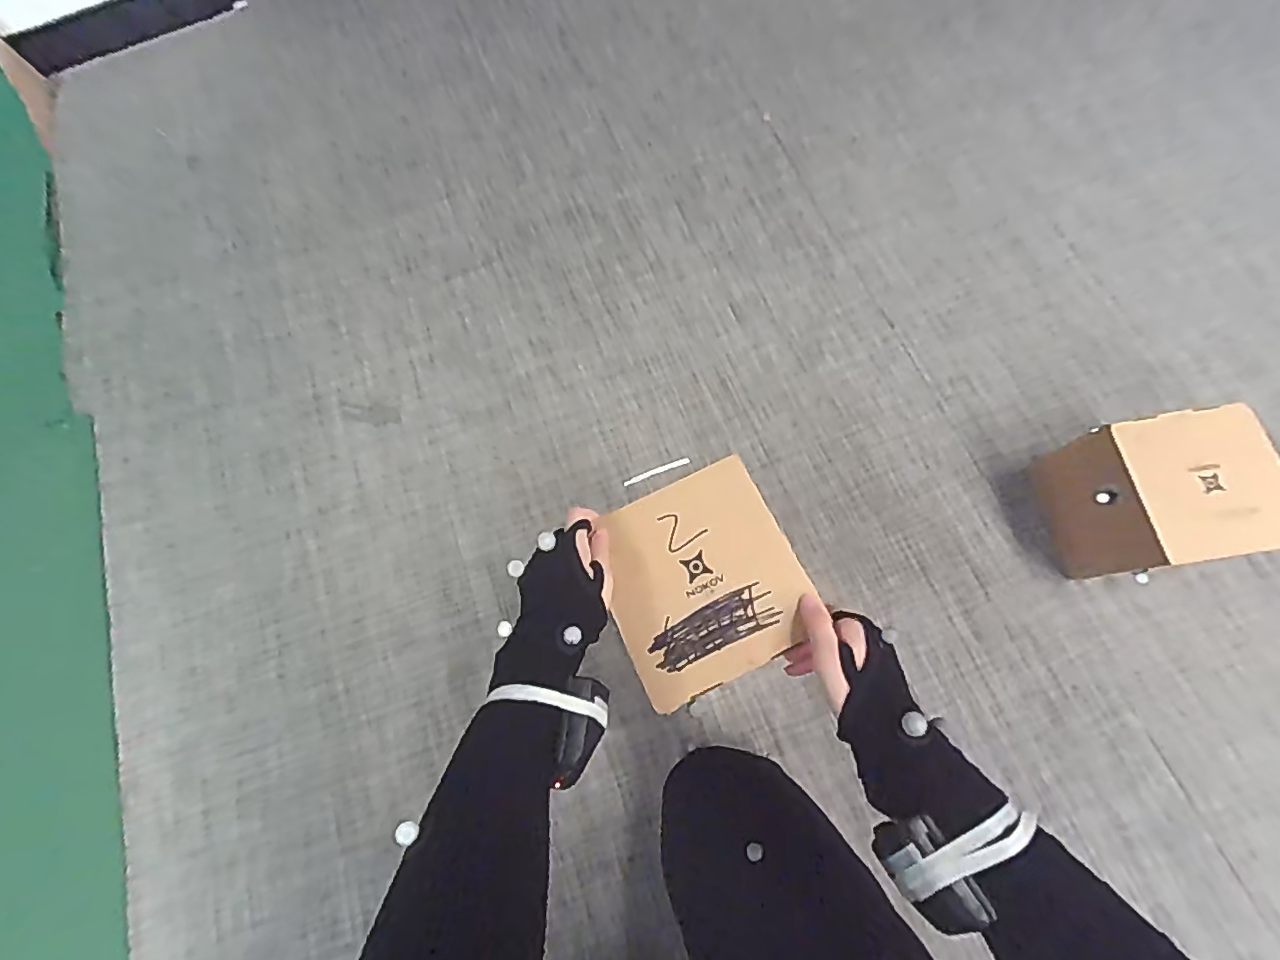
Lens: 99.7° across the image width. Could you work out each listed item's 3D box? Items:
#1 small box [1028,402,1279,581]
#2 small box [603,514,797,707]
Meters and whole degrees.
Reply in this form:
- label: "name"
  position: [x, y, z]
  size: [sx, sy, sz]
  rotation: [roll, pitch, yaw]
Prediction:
- label: "small box"
  position: [0.656, 0.023, 0.702]
  size: [0.168, 0.176, 0.179]
  rotation: [-10, 71, 2]
- label: "small box"
  position: [0.075, 0.172, 0.701]
  size: [0.179, 0.176, 0.168]
  rotation: [-28, 72, -4]
